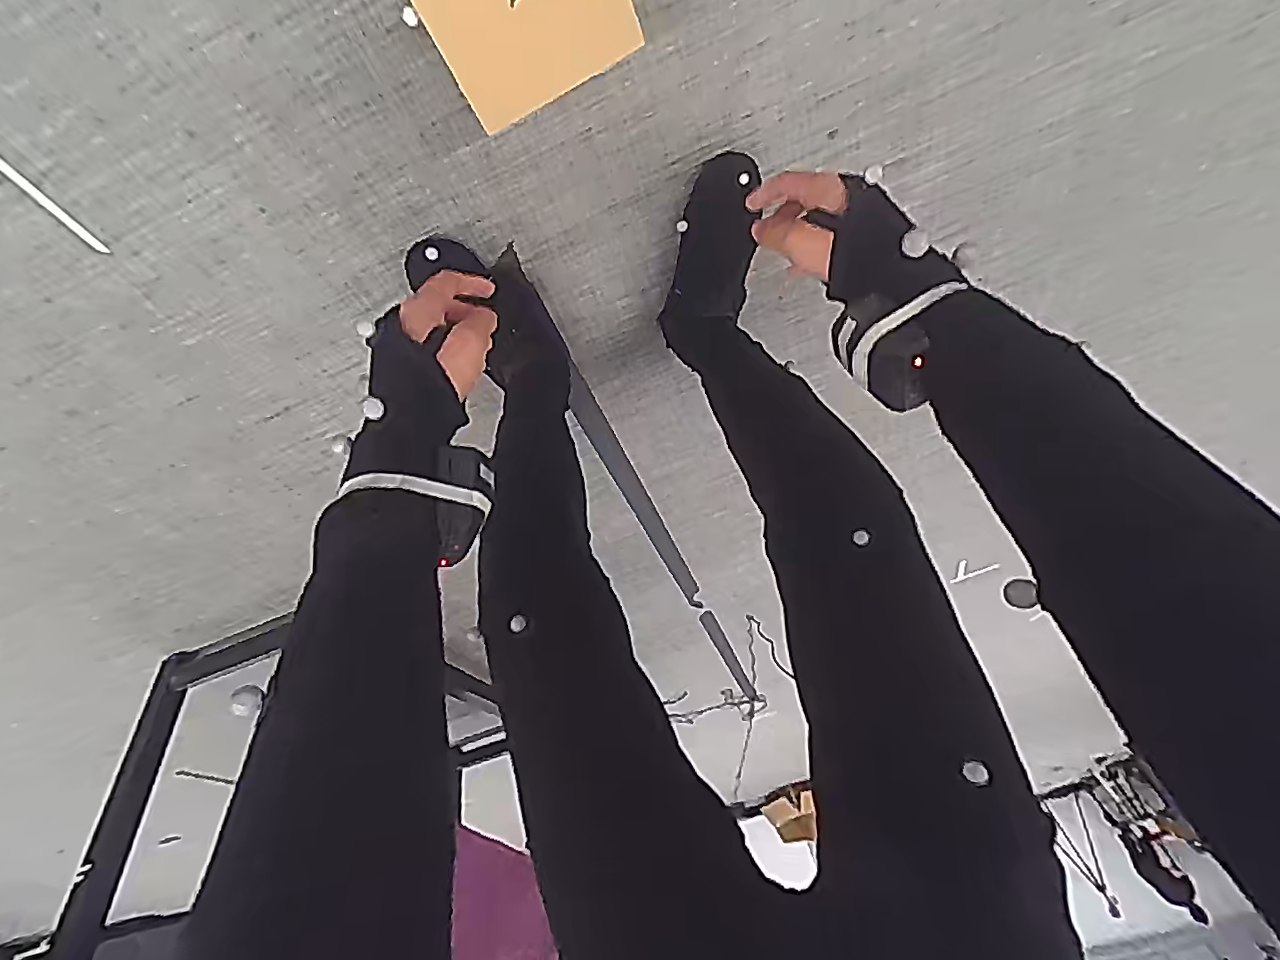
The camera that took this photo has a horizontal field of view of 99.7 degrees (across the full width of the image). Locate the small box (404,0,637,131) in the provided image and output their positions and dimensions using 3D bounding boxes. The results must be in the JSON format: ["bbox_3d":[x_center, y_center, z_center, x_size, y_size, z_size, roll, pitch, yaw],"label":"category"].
[{"bbox_3d":[-0.120,-0.458,0.472,0.168,0.176,0.179,-24,139,10],"label":"small box"}]
